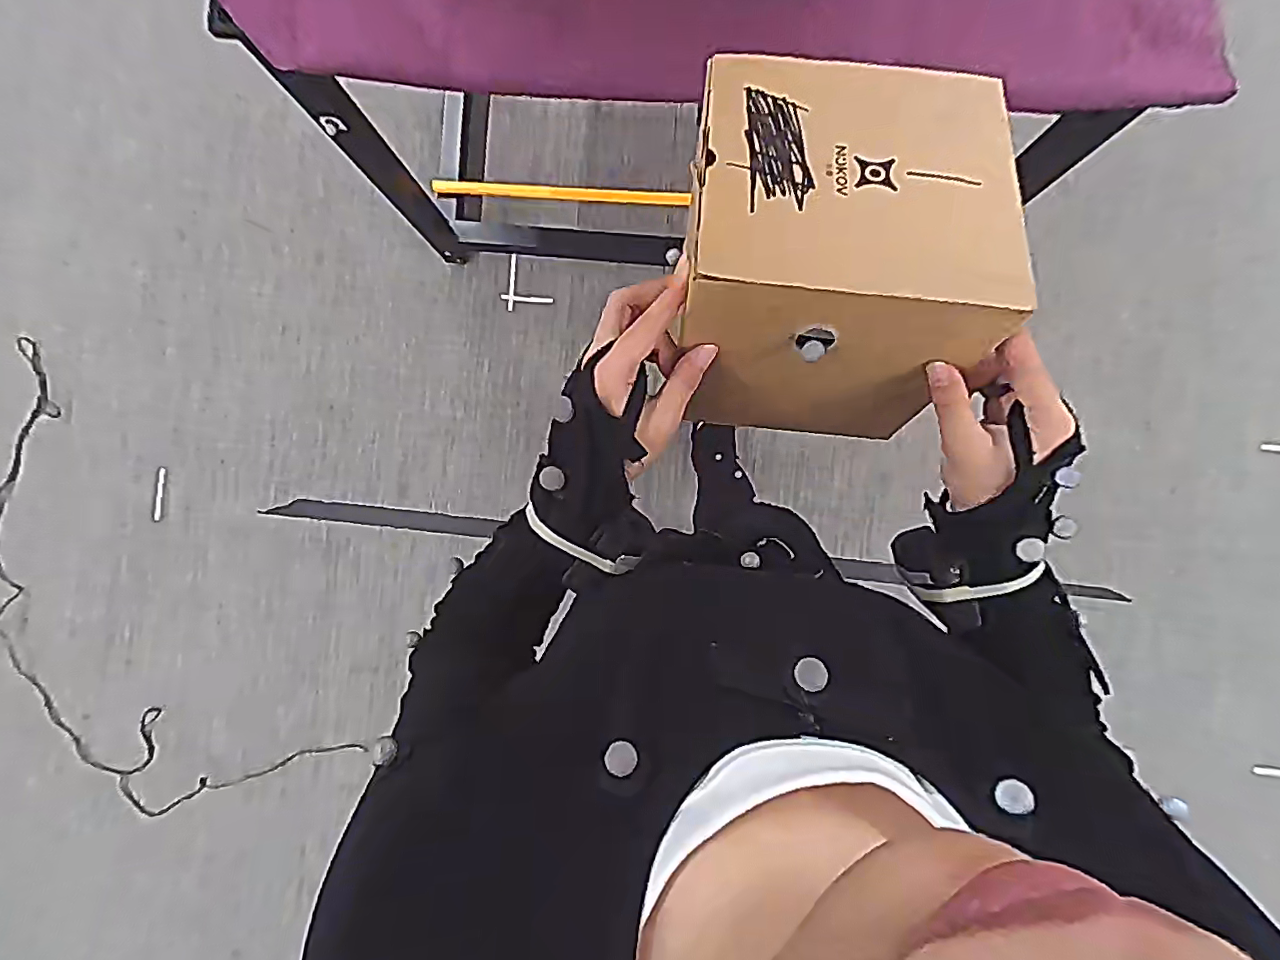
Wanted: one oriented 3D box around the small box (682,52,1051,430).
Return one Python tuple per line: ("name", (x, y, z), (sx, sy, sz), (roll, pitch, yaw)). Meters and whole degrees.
("small box", (0.124, -0.145, 0.371), (0.179, 0.176, 0.168), (5, 71, 1))
